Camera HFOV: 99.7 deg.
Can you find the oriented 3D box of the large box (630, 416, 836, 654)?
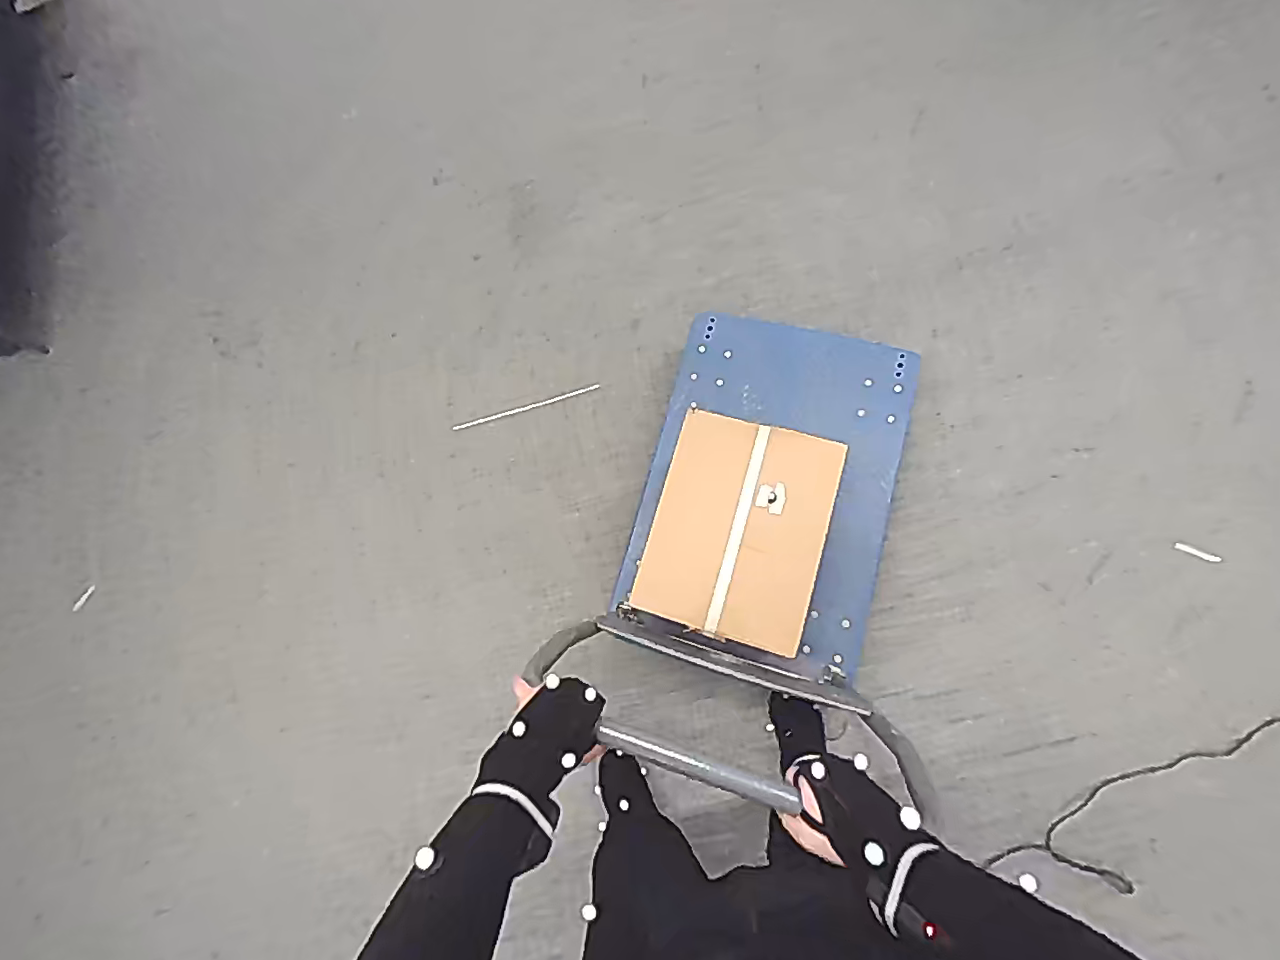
[{"bbox_3d":[0.201,0.127,1.171,0.320,0.320,0.408,15,79,12],"label":"large box"}]
